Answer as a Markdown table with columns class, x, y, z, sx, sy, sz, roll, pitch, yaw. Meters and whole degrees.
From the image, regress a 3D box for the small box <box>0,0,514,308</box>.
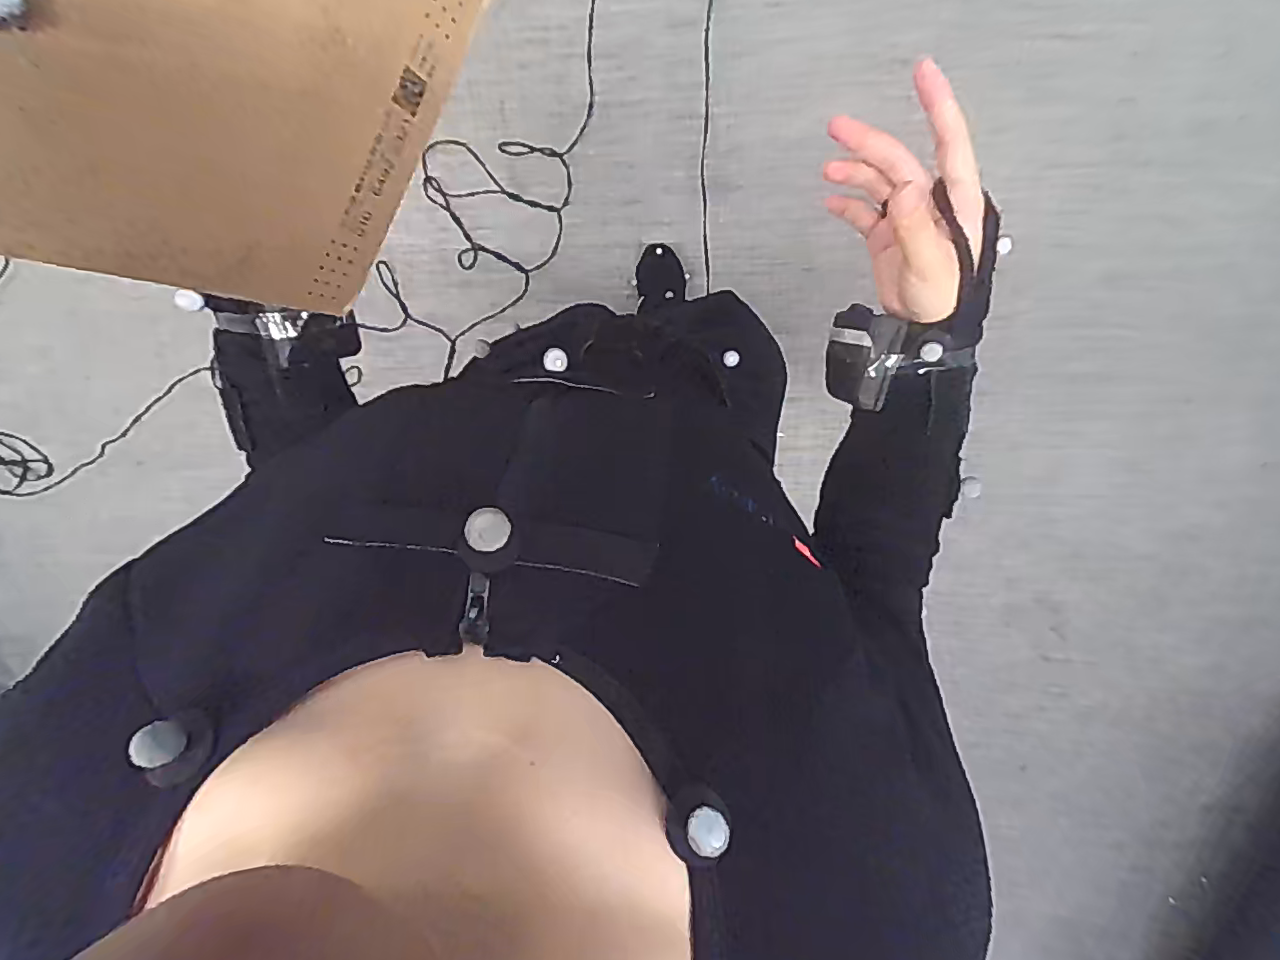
| class | x | y | z | sx | sy | sz | roll | pitch | yaw |
| --- | --- | --- | --- | --- | --- | --- | --- | --- | --- |
| small box | -0.180 | -0.180 | 0.189 | 0.179 | 0.176 | 0.168 | 34 | 106 | 7 |
